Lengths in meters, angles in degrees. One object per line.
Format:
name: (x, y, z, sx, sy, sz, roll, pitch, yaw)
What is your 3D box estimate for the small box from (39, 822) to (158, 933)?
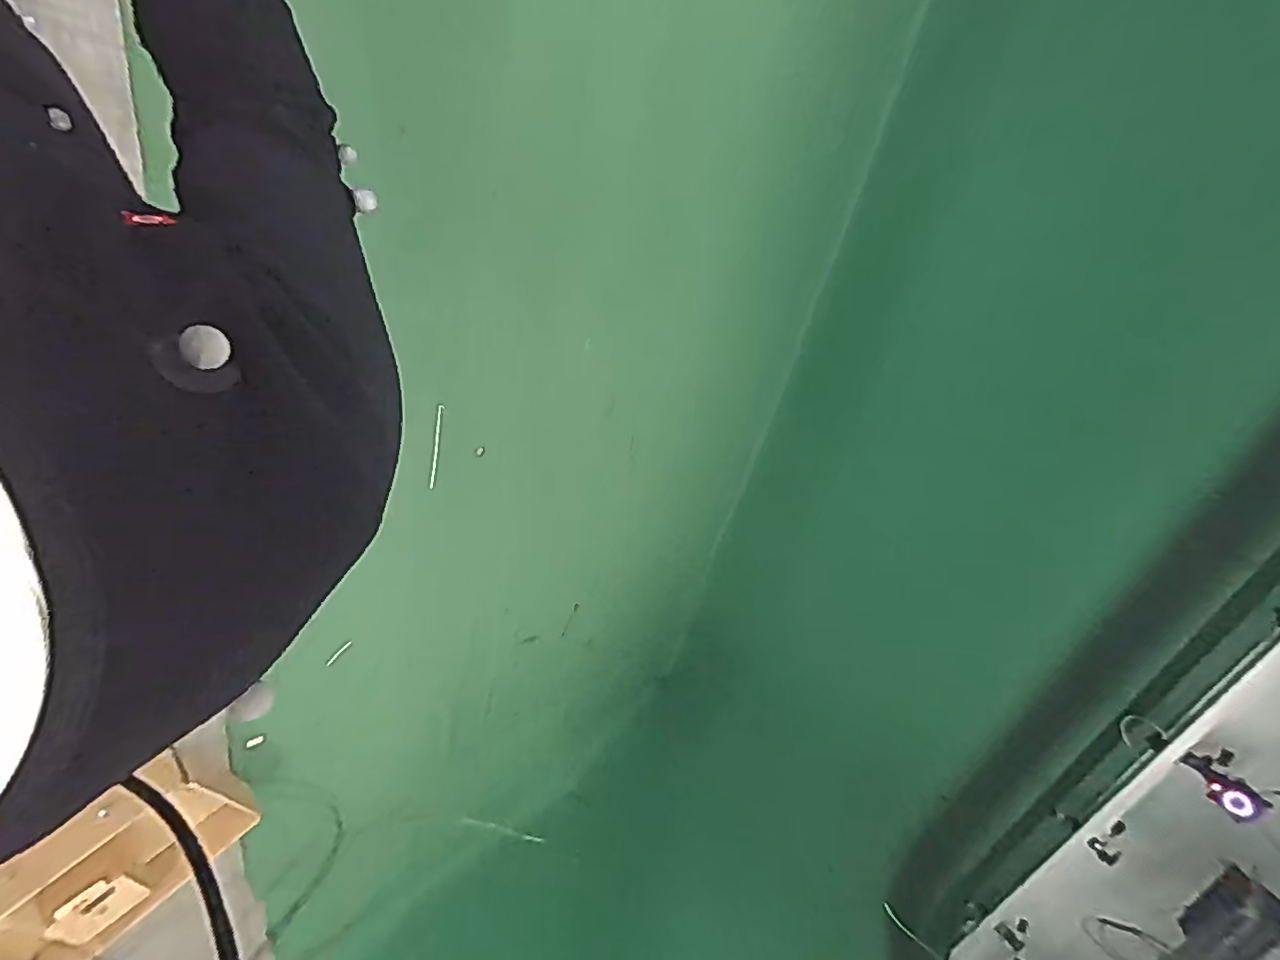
small box: (-1.511, 1.102, 1.510, 0.168, 0.176, 0.179, -33, 144, -36)
